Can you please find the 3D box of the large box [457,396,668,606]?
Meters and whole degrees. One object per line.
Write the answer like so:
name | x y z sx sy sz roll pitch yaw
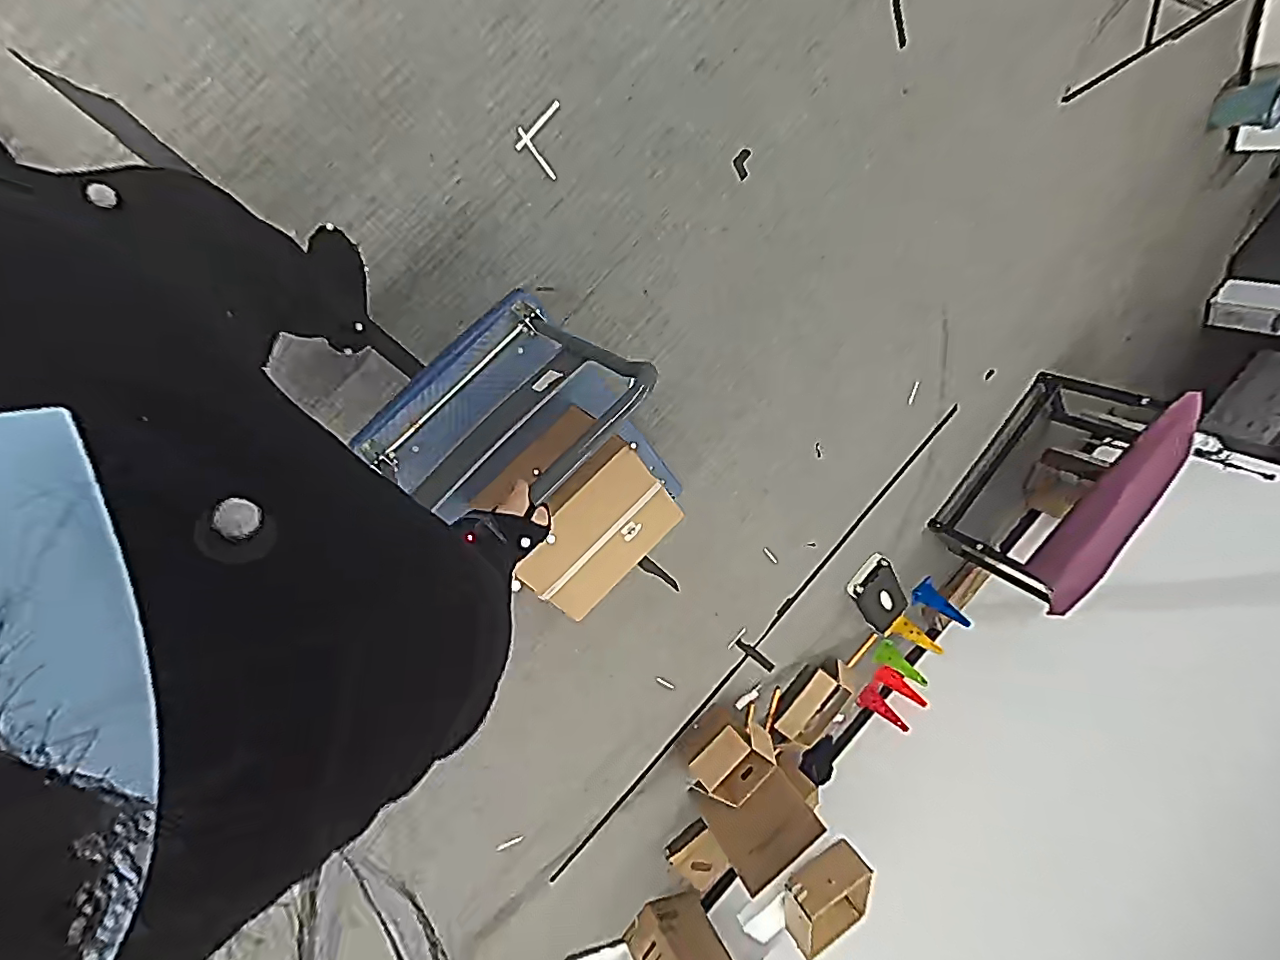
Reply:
large box | -0.210 0.049 1.455 0.408 0.320 0.320 -45 132 -7
